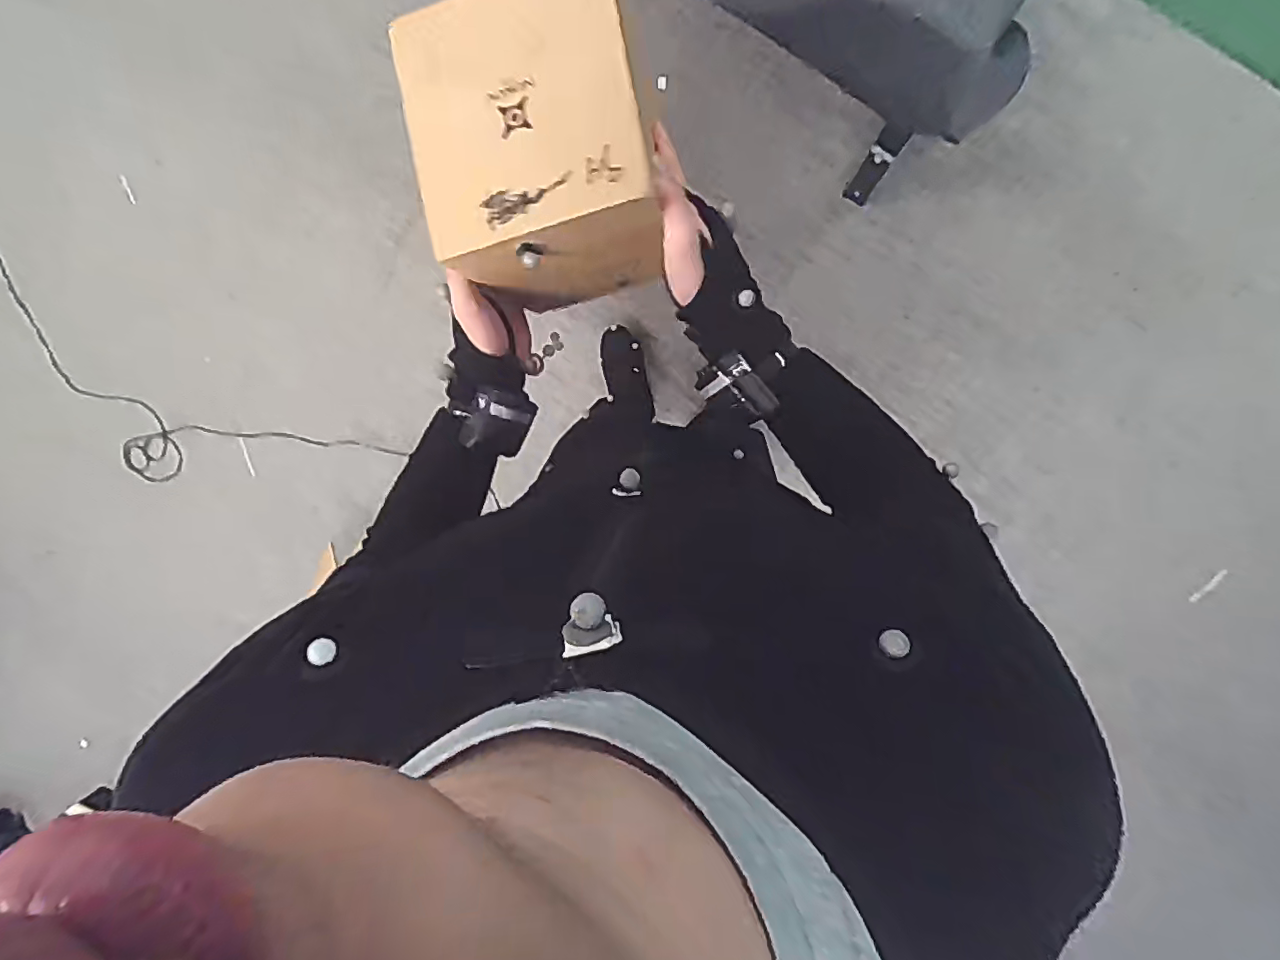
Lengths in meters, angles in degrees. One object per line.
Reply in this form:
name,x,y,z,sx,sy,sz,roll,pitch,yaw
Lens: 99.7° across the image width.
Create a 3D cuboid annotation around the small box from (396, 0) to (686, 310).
small box,-0.065,-0.264,0.448,0.168,0.176,0.179,-12,90,13
